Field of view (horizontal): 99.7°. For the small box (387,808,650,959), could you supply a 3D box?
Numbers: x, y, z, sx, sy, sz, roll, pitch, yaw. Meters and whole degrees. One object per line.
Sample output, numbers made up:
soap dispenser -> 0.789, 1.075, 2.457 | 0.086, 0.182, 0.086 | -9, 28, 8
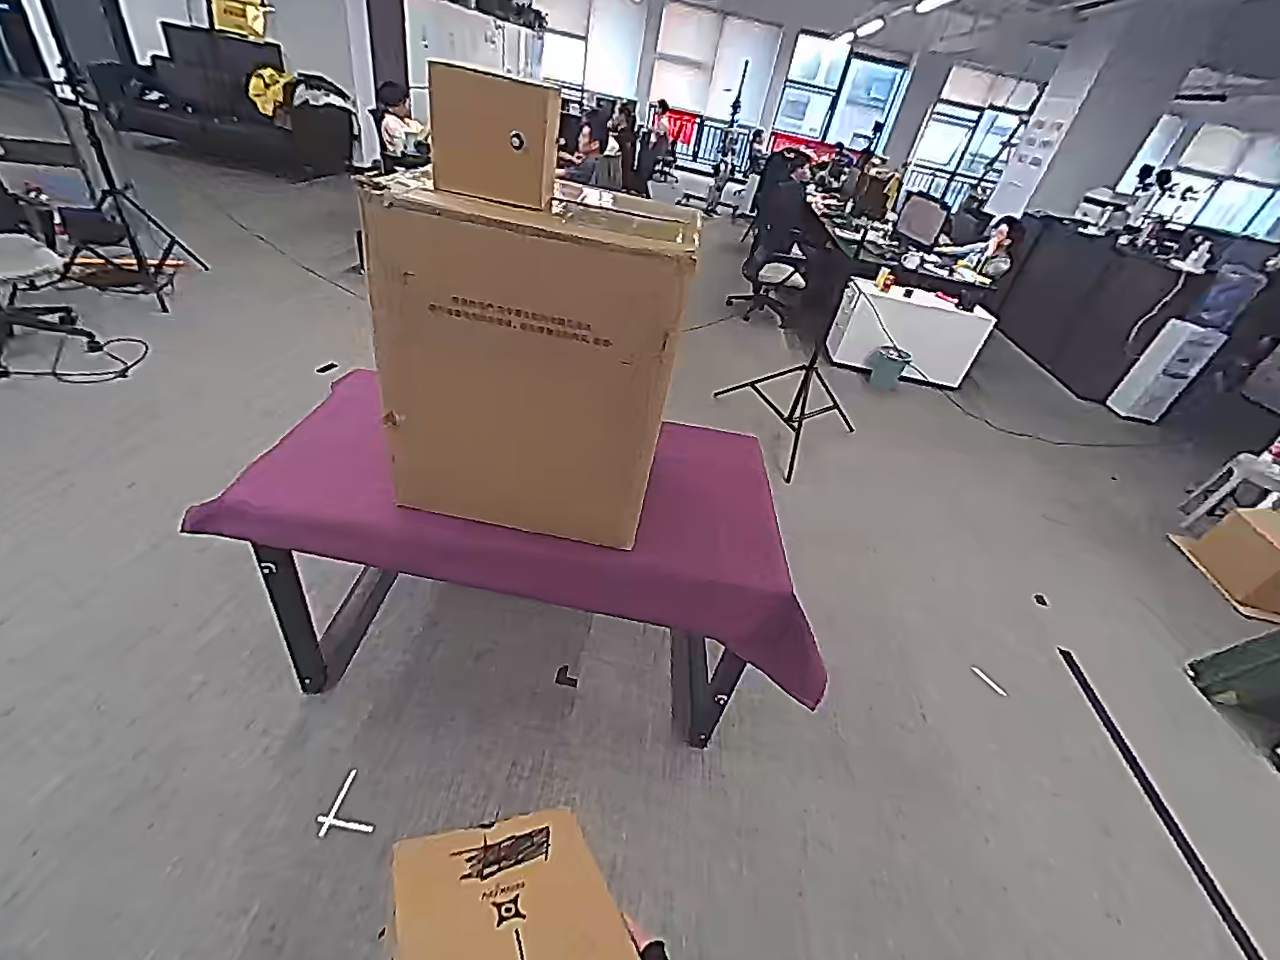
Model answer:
small box -> -0.111, 0.413, 0.436 | 0.168, 0.176, 0.179 | 4, 5, -28

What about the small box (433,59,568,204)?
small box -> -0.221, -0.562, 0.880 | 0.179, 0.176, 0.168 | 8, 35, -6
